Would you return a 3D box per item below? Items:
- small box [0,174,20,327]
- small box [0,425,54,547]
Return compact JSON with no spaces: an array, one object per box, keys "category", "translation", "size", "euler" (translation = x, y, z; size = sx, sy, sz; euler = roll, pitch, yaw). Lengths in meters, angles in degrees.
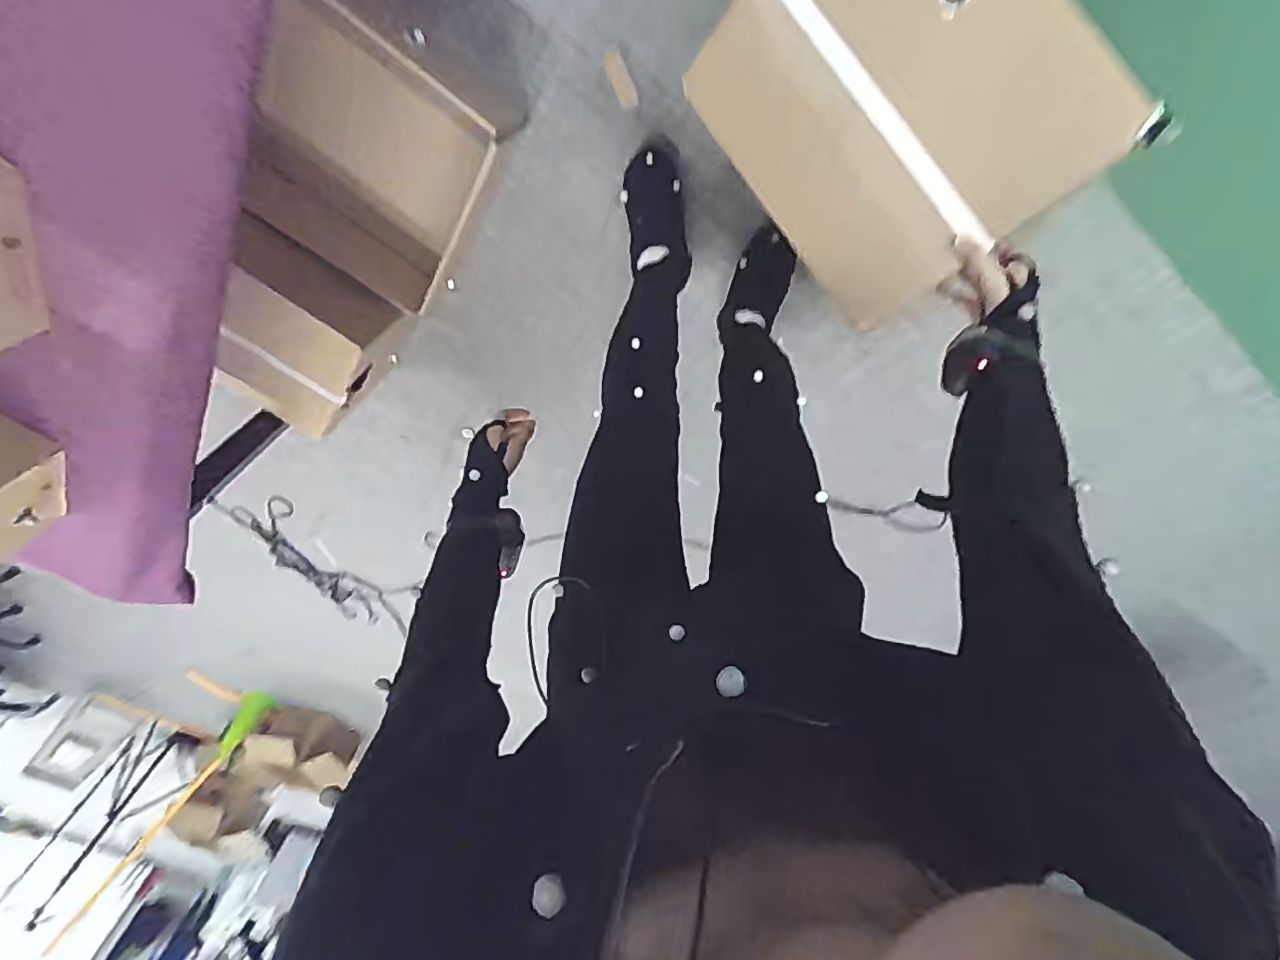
[{"category":"small box","translation":[-0.597,-0.181,0.370],"size":[0.179,0.176,0.168],"euler":[31,129,-15]},{"category":"small box","translation":[-0.809,0.010,0.582],"size":[0.179,0.176,0.168],"euler":[35,128,-19]}]
